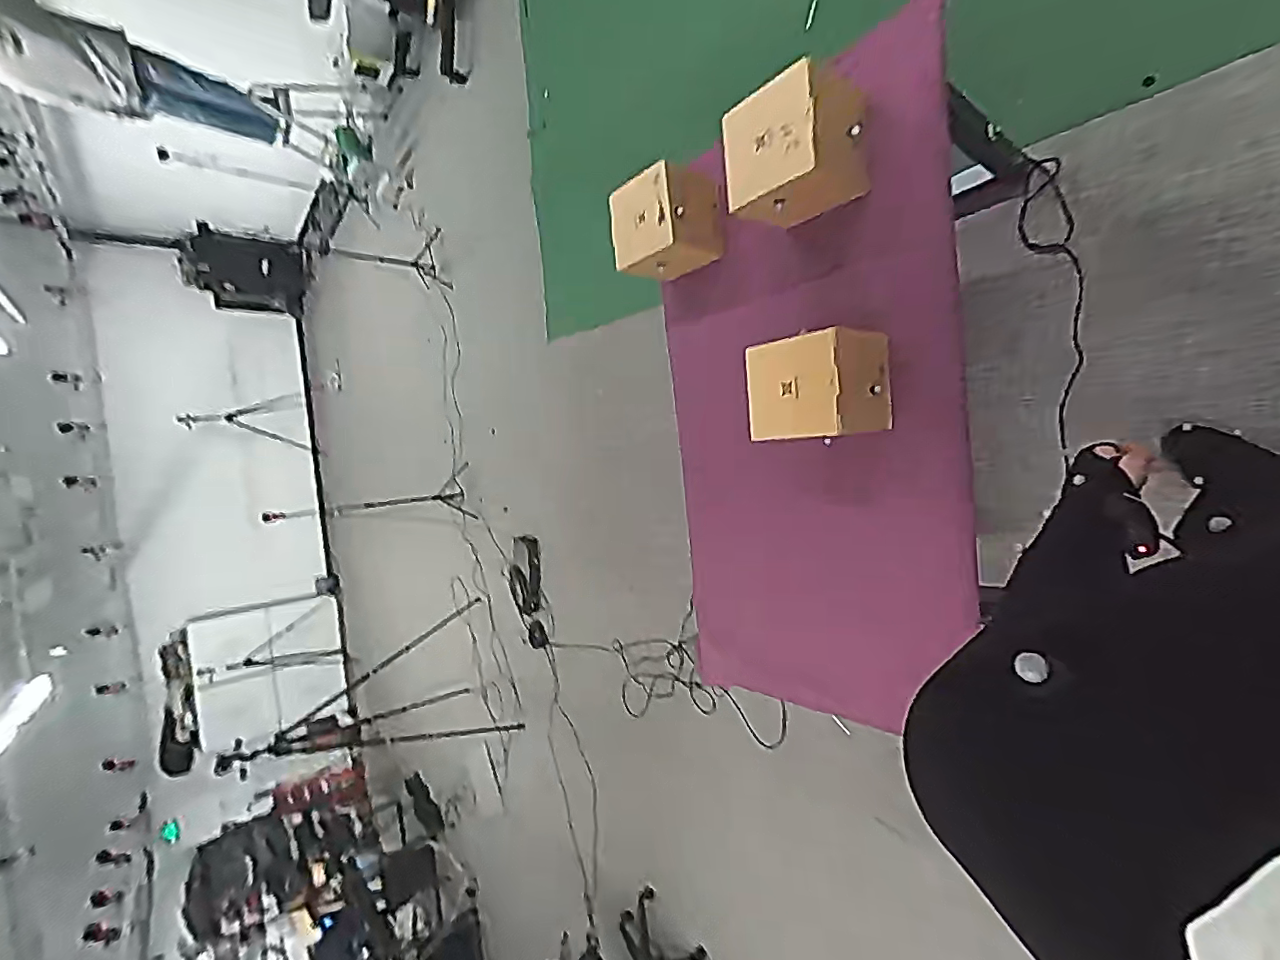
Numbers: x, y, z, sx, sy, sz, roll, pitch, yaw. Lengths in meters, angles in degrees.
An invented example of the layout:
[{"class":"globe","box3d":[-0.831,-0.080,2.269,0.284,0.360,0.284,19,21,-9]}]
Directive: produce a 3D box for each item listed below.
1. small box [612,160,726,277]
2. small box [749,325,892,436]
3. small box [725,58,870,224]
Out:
[{"class":"small box","box3d":[0.063,-0.557,1.181,0.179,0.176,0.168,-3,95,48]},{"class":"small box","box3d":[0.315,-0.164,0.950,0.179,0.176,0.168,-1,94,51]},{"class":"small box","box3d":[0.270,-0.566,0.935,0.179,0.176,0.168,0,97,51]}]
